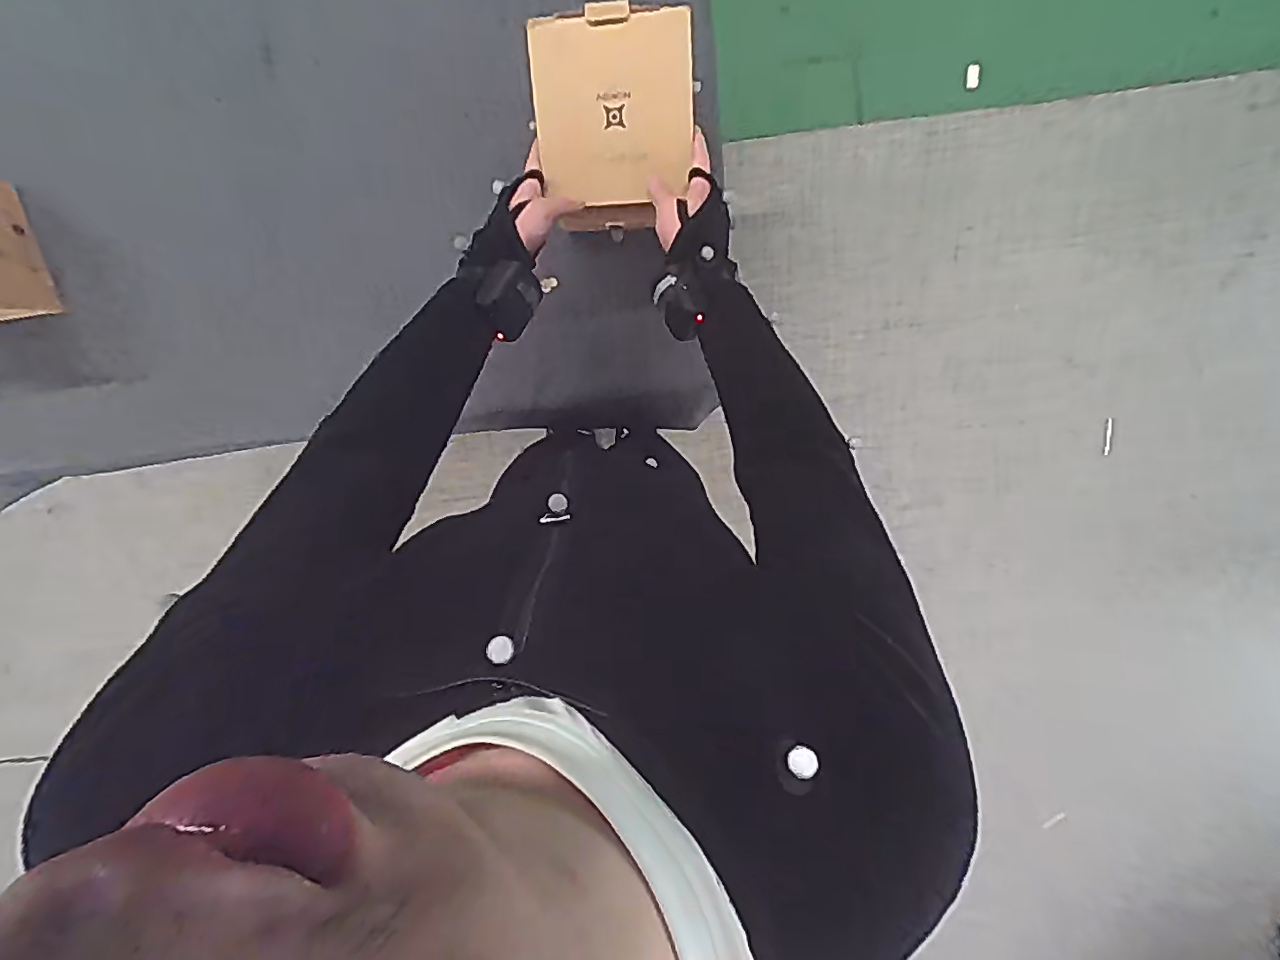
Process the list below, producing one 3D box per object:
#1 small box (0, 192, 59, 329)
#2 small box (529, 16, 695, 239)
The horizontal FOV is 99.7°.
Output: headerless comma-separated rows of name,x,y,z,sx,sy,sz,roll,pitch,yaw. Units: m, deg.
small box,-0.905,-0.277,0.678,0.179,0.176,0.168,-8,105,1
small box,-0.025,-0.388,0.626,0.168,0.176,0.179,-1,106,3
